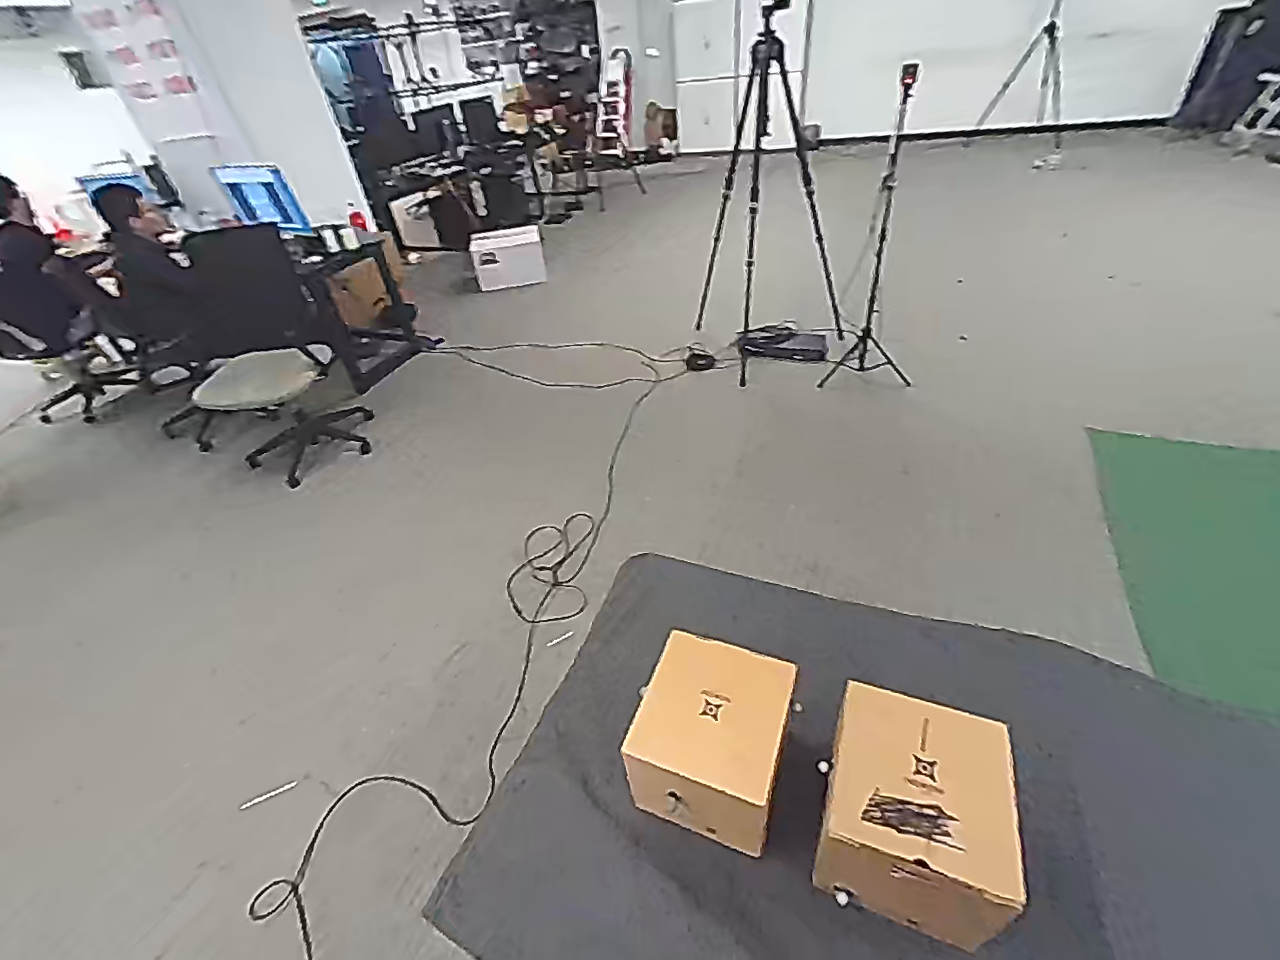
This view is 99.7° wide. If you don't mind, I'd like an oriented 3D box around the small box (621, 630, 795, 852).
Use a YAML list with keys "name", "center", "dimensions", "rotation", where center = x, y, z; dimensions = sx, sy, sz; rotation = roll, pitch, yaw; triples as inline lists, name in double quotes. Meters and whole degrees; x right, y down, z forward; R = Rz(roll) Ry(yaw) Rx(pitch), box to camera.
- name: "small box"
  center: [0.094, 0.328, 0.686]
  dimensions: [0.168, 0.176, 0.179]
  rotation: [11, 42, 21]
